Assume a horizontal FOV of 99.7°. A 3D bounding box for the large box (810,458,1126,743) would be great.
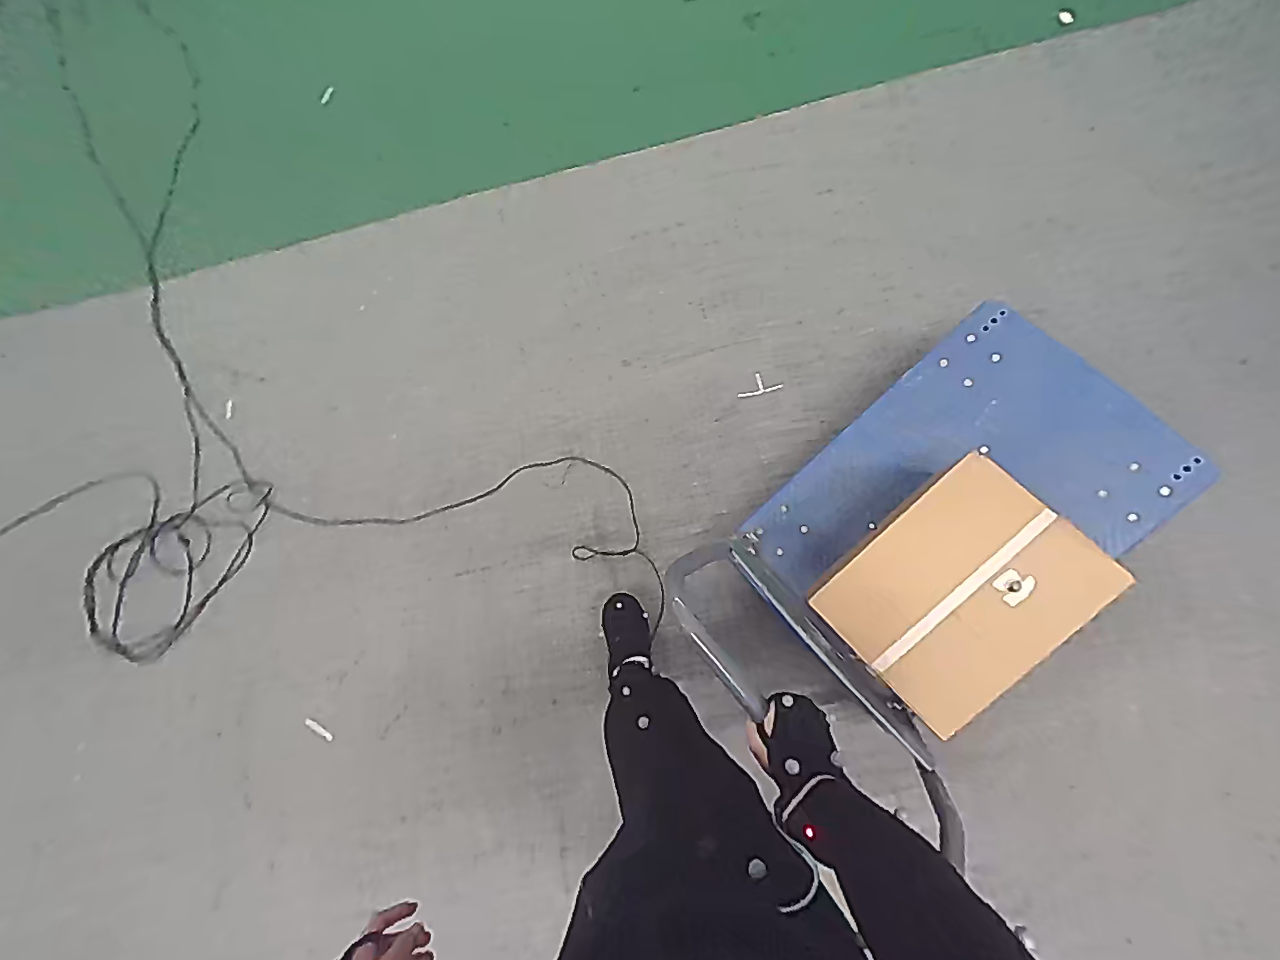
[{"bbox_3d":[0.595,0.227,1.080,0.408,0.320,0.320,-44,73,6],"label":"large box"}]
